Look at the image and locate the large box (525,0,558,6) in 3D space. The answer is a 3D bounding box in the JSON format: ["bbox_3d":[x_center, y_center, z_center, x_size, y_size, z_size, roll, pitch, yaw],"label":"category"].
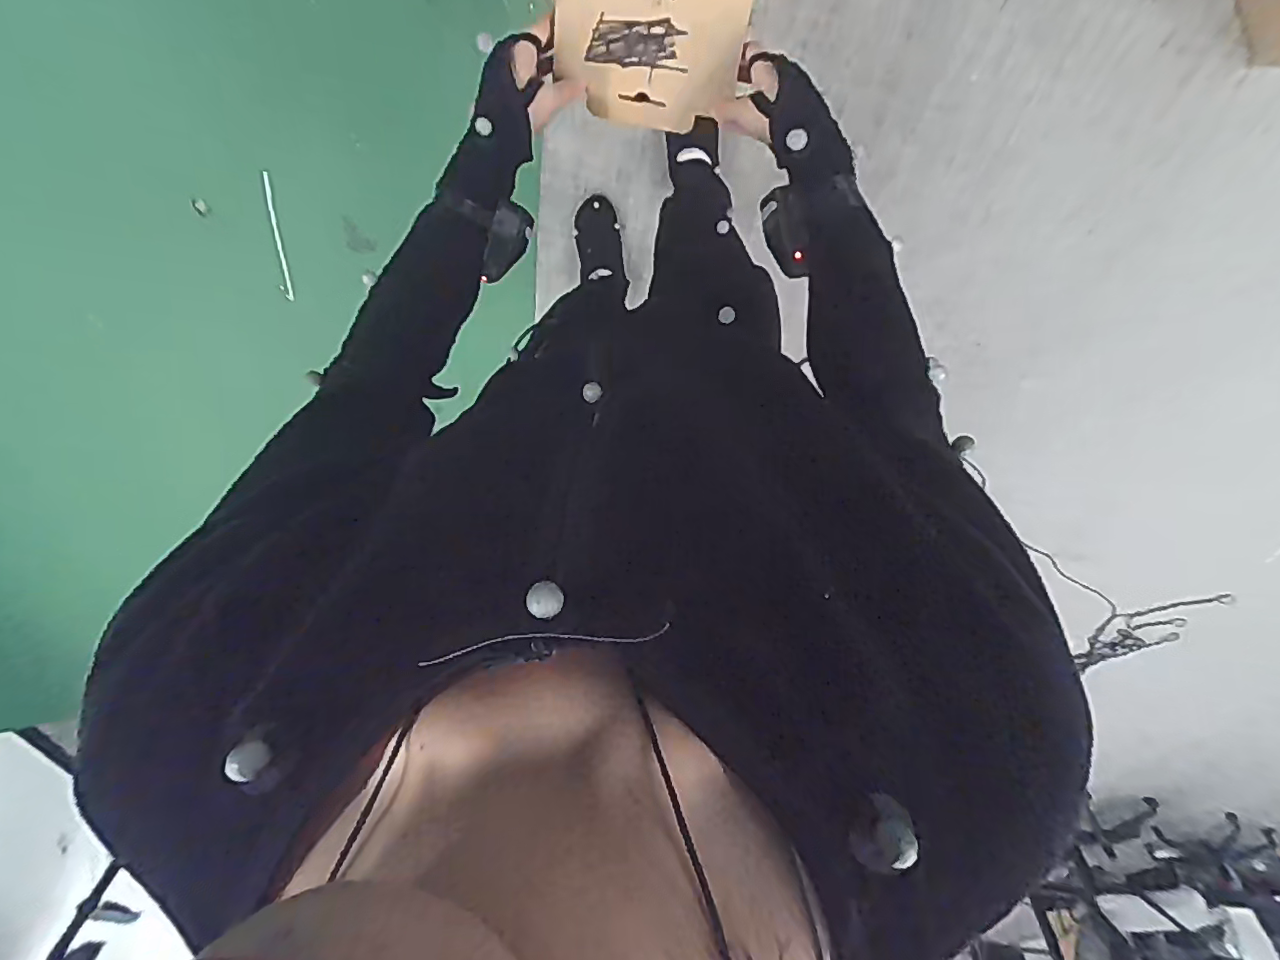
[{"bbox_3d":[0.028,-0.932,0.813,0.408,0.320,0.320,1,129,6],"label":"large box"}]

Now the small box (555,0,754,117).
[{"bbox_3d":[0.019,-0.465,0.503,0.168,0.176,0.179,7,130,-4],"label":"small box"}]

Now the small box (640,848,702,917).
[{"bbox_3d":[0.098,1.343,1.785,0.168,0.176,0.179,13,128,-5],"label":"small box"}]
